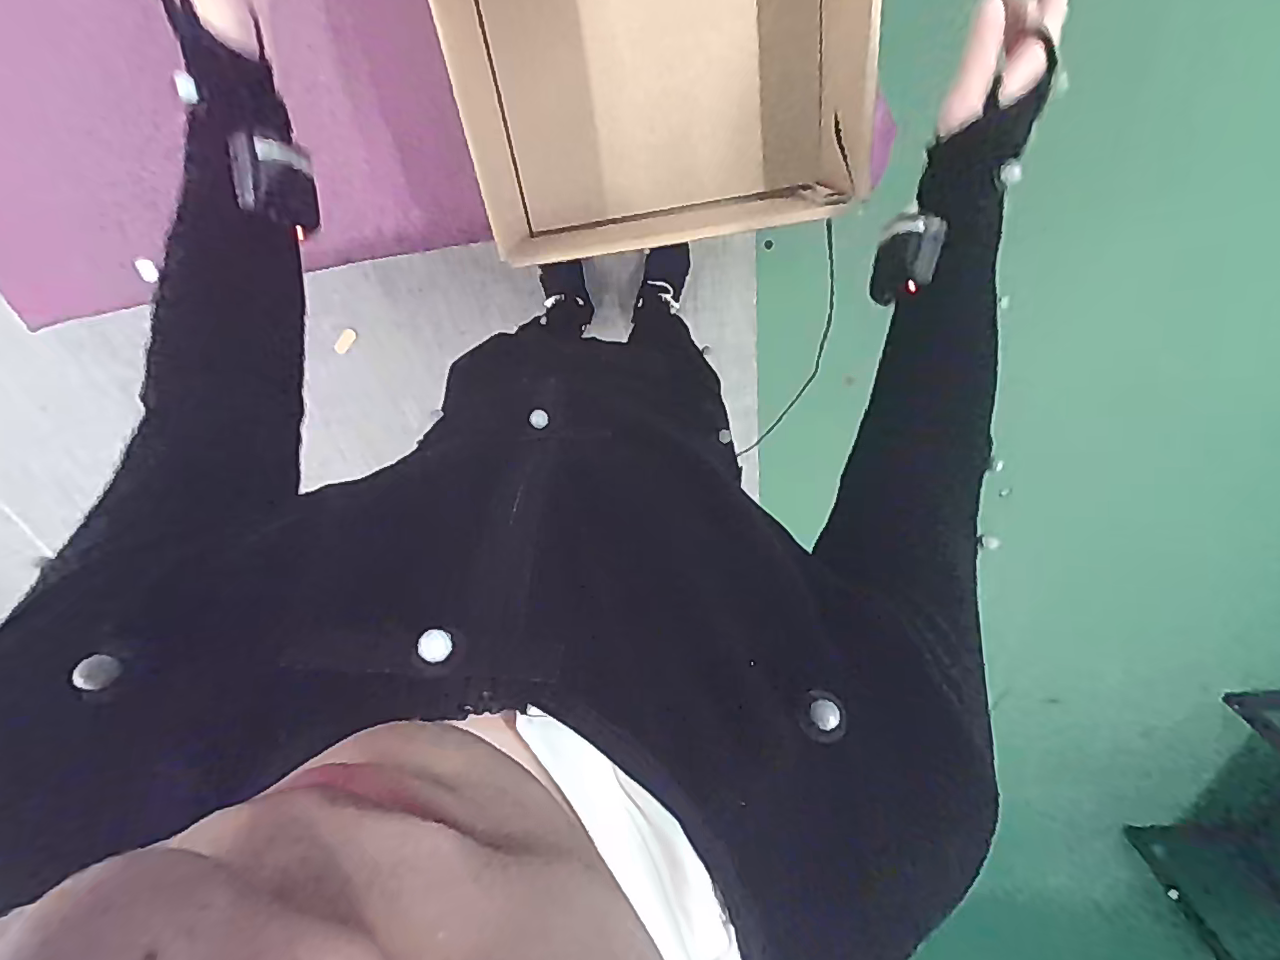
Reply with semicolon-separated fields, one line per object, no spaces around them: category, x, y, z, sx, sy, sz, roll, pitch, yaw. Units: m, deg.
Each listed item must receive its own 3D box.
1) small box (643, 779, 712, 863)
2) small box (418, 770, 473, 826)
small box;0.125;1.171;1.860;0.179;0.176;0.168;-33;117;17
small box;-0.751;1.258;2.089;0.168;0.176;0.179;10;119;-7
